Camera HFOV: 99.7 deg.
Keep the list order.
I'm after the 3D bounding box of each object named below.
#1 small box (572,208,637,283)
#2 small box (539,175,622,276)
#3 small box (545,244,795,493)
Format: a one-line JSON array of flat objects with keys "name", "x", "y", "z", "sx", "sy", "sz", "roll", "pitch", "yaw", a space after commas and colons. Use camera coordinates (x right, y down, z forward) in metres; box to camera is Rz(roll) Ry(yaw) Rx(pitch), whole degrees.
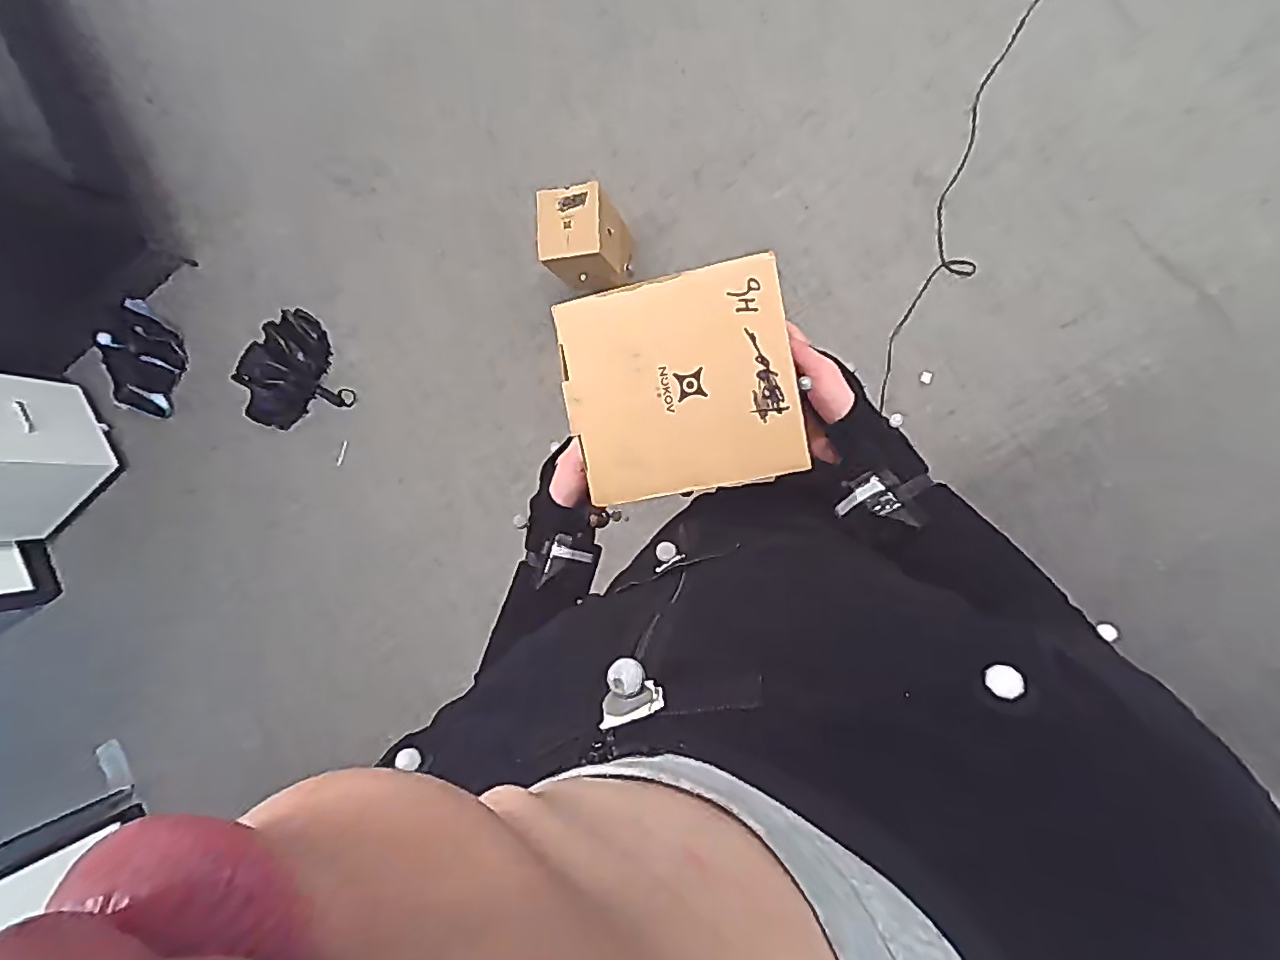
[{"name": "small box", "x": -0.124, "y": -0.672, "z": 1.560, "sx": 0.179, "sy": 0.176, "sz": 0.168, "roll": 12, "pitch": 95, "yaw": 14}, {"name": "small box", "x": -0.150, "y": -0.649, "z": 1.396, "sx": 0.168, "sy": 0.176, "sz": 0.179, "roll": 0, "pitch": 92, "yaw": 16}, {"name": "small box", "x": 0.036, "y": -0.090, "z": 0.495, "sx": 0.179, "sy": 0.176, "sz": 0.168, "roll": -9, "pitch": 96, "yaw": 11}]
